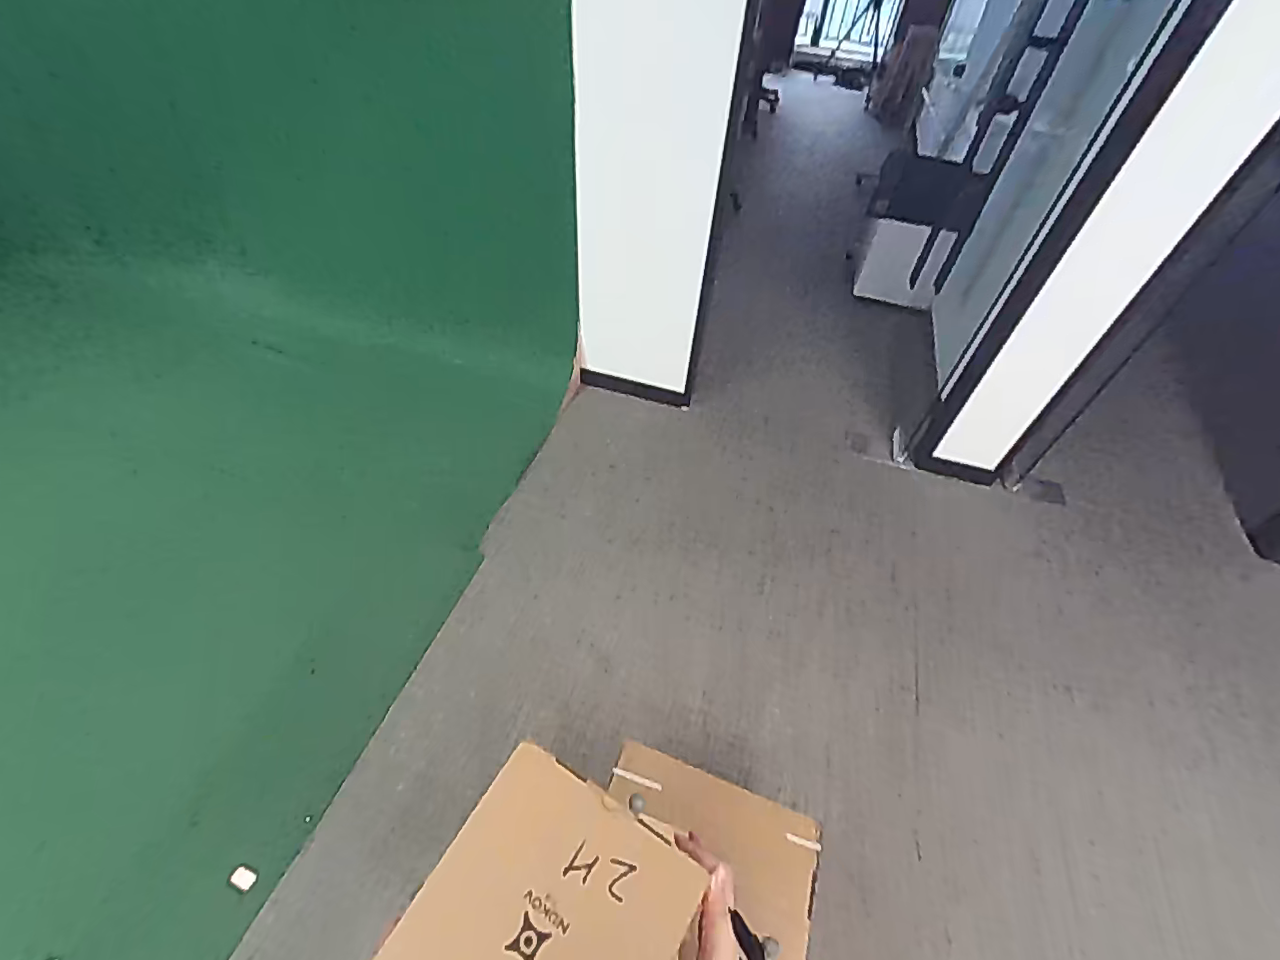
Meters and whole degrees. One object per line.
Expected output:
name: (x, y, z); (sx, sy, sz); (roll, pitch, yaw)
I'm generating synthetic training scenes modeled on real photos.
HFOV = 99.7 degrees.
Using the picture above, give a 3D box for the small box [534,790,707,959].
small box: (-0.023, 0.559, 0.733); (0.179, 0.176, 0.168); (16, 47, 11)
